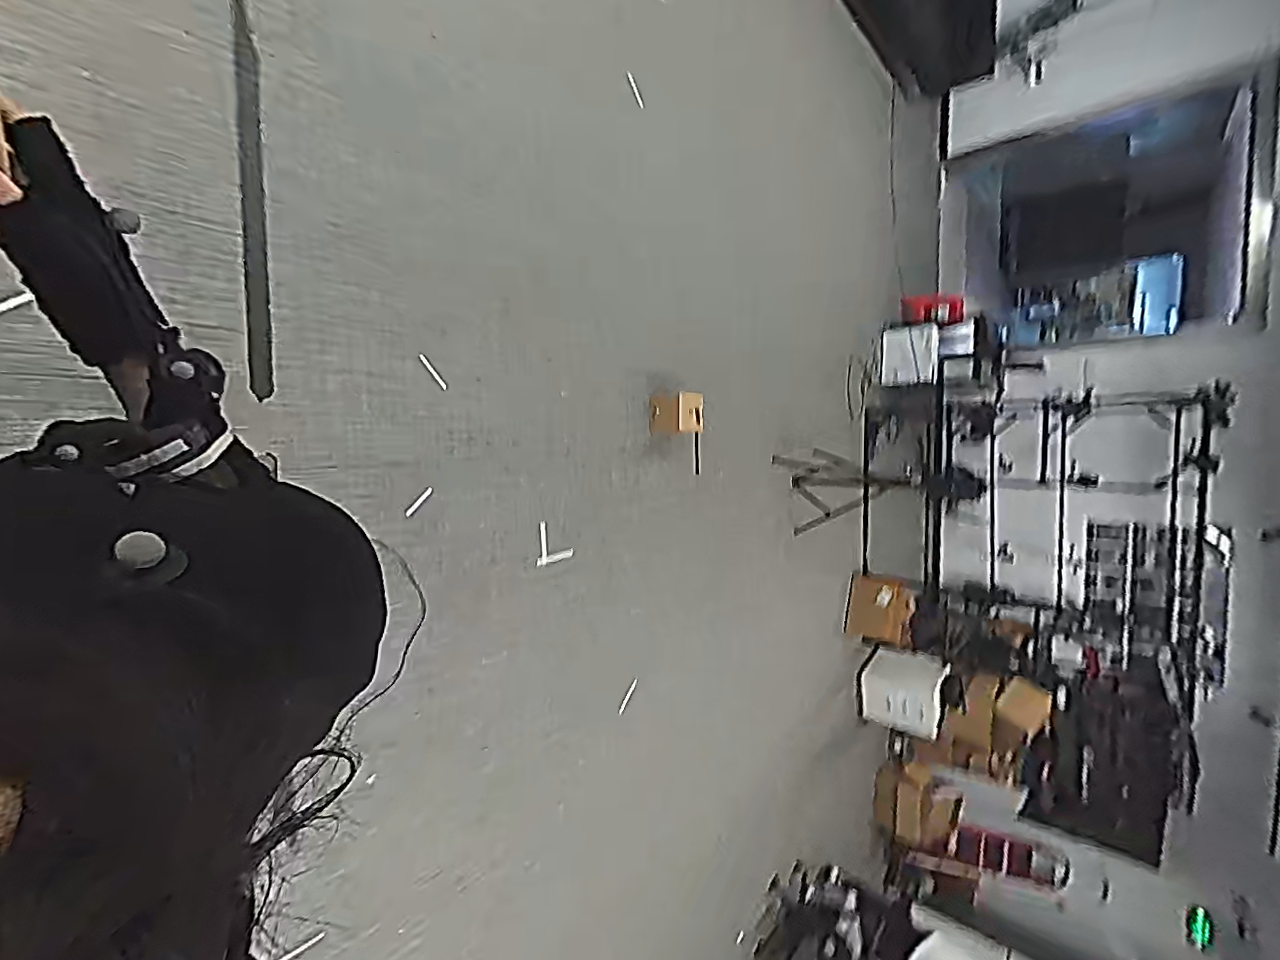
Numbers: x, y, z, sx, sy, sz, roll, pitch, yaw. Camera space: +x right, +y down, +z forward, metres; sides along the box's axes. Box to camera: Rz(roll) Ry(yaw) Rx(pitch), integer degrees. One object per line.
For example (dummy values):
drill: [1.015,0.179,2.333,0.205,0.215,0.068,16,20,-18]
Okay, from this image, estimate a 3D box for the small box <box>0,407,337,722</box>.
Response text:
small box: [-0.399,0.060,0.453,0.168,0.176,0.179,26,100,-10]

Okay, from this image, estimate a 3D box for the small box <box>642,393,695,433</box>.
small box: [0.128,-0.297,2.441,0.179,0.176,0.168,-3,94,-49]
